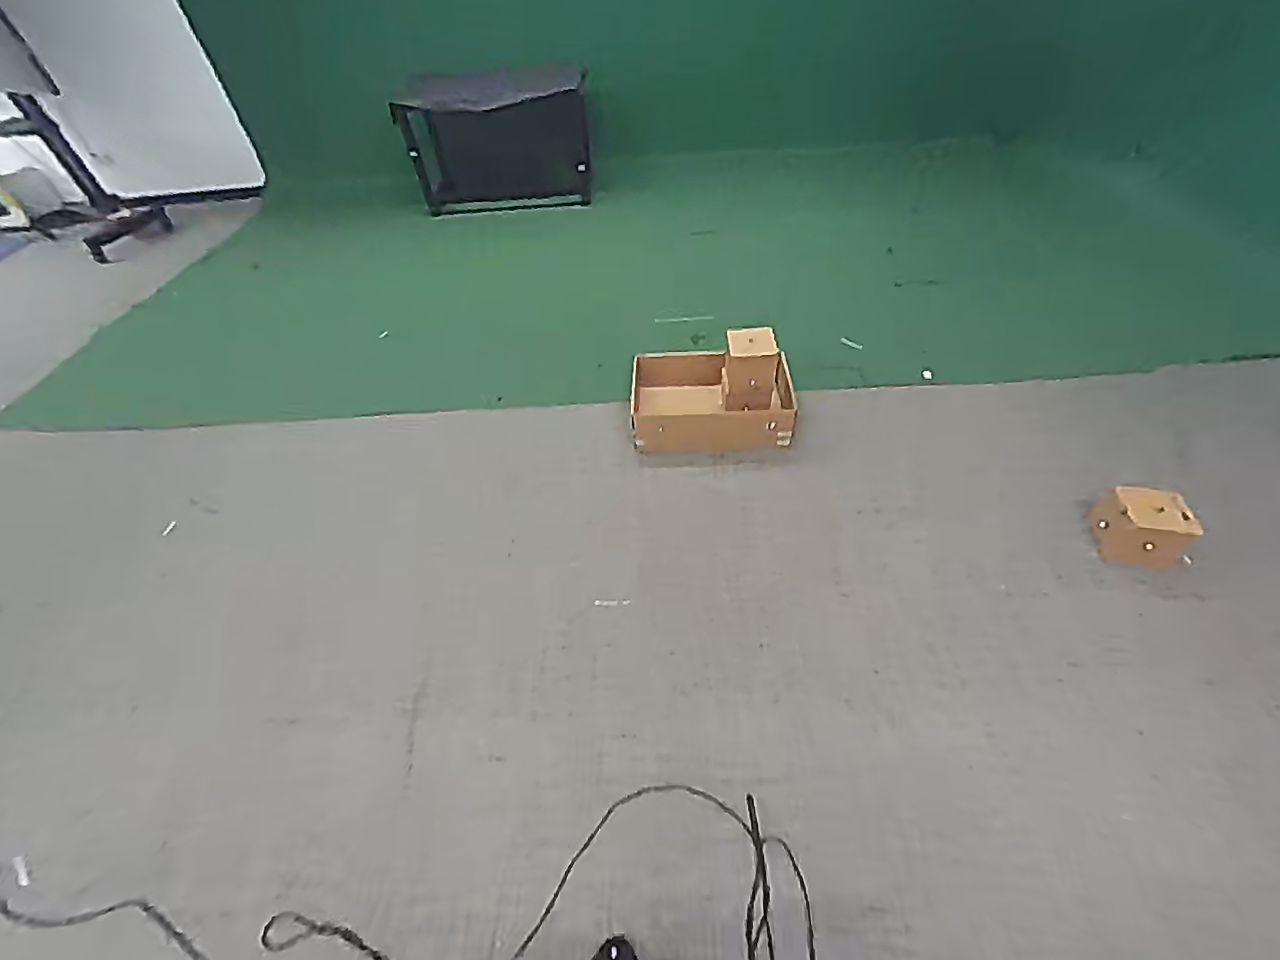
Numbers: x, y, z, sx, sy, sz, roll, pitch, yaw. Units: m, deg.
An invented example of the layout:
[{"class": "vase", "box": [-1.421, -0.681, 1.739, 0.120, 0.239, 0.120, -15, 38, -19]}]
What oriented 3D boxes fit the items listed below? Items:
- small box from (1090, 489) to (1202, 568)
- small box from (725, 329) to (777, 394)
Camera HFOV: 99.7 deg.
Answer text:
[{"class": "small box", "box": [1.510, 0.149, 1.635, 0.179, 0.176, 0.168, 6, 48, 12]}, {"class": "small box", "box": [0.403, -0.436, 1.991, 0.168, 0.176, 0.179, -3, 48, 5]}]
